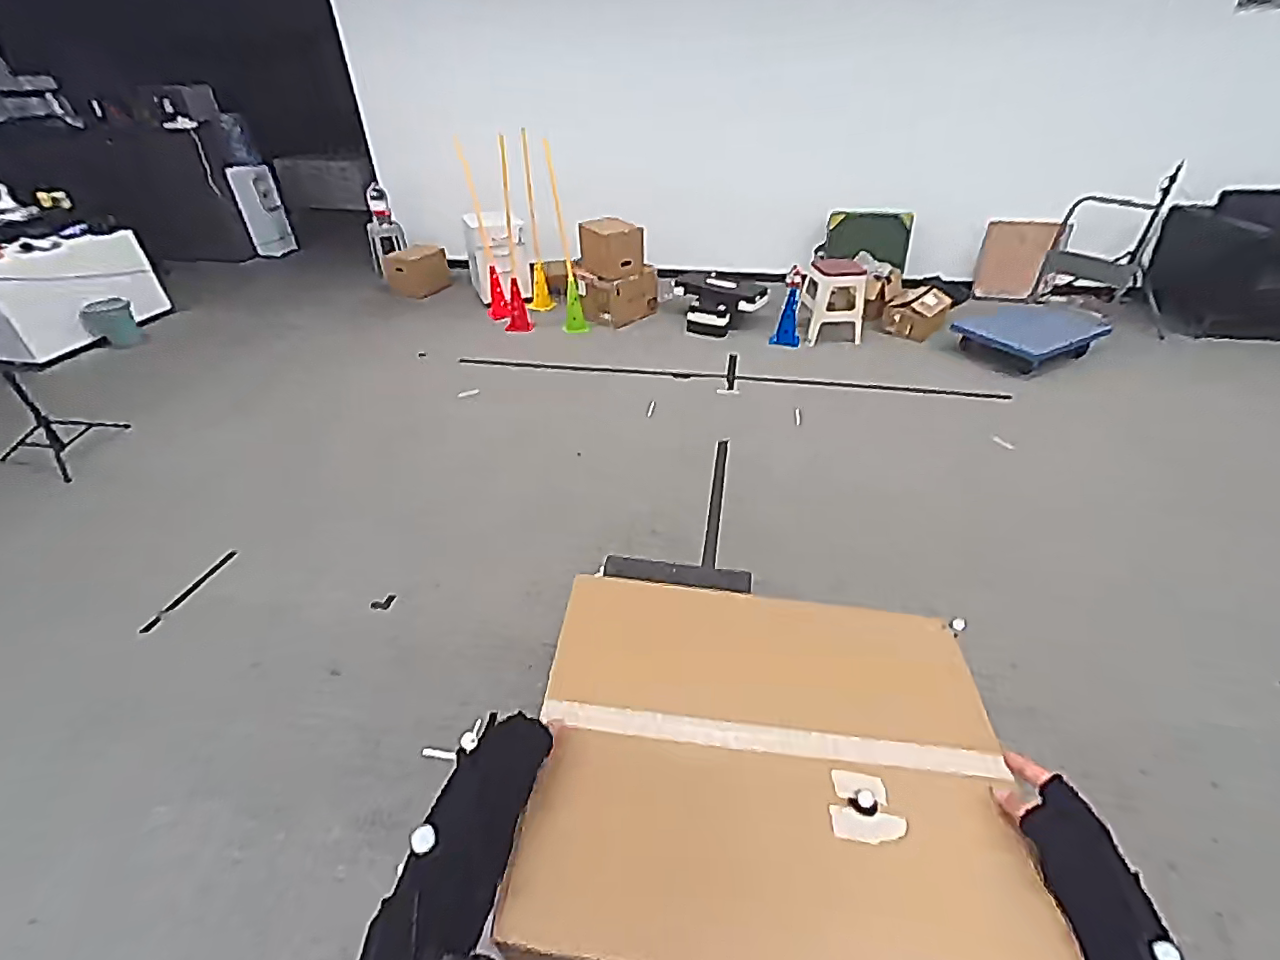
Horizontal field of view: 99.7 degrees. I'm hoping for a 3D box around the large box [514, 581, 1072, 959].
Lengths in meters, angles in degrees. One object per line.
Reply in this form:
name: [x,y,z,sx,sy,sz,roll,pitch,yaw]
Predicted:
large box: [0.106,0.343,0.581,0.408,0.320,0.320,7,41,1]
